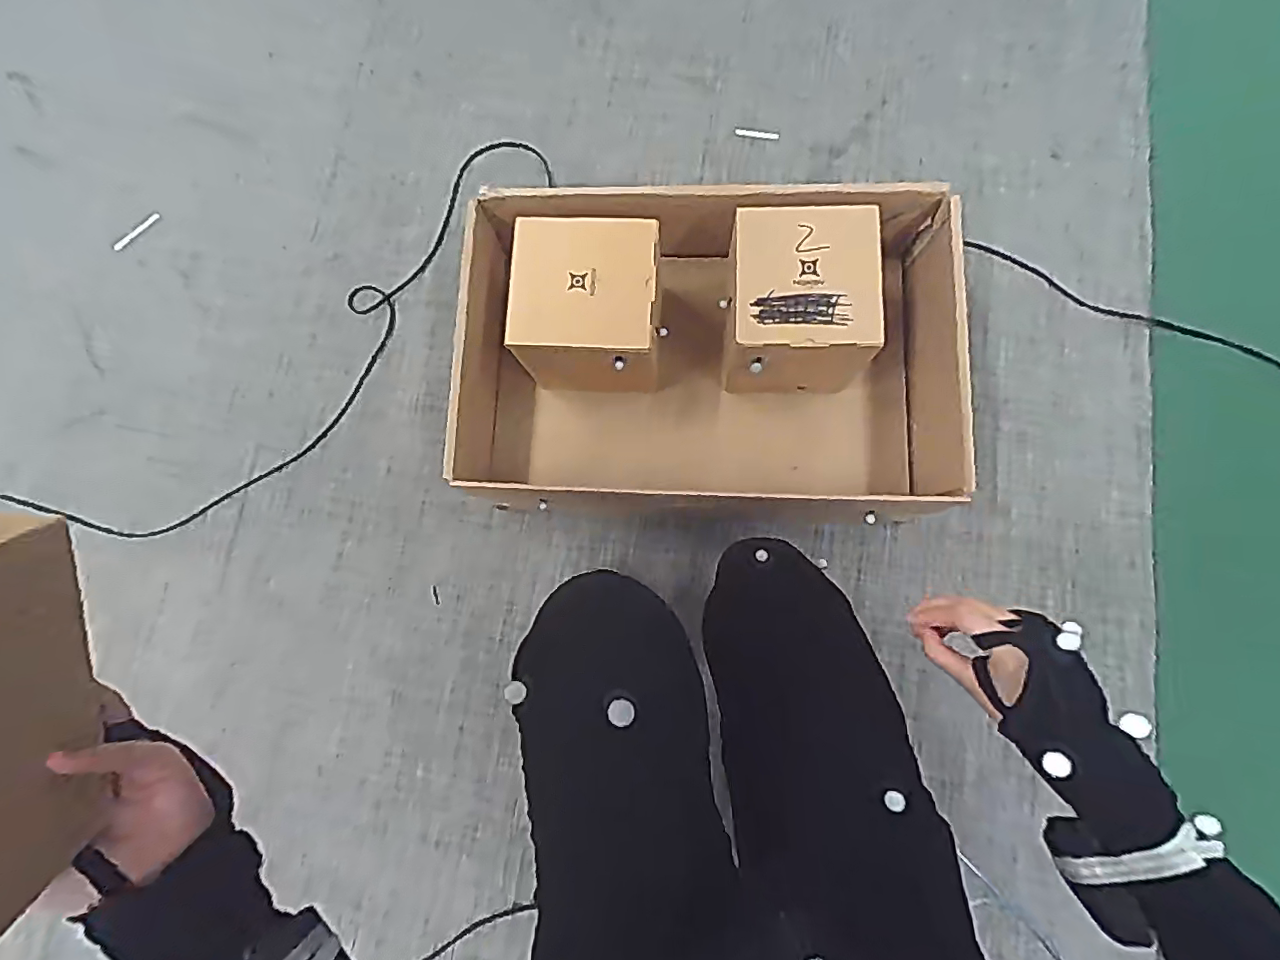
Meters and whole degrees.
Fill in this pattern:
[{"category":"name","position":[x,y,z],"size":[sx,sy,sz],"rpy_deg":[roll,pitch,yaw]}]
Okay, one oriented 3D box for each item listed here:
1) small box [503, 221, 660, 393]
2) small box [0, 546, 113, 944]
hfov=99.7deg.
[{"category":"small box","position":[-0.066,-0.219,0.720],"size":[0.179,0.176,0.168],"rpy_deg":[2,82,3]},{"category":"small box","position":[-0.349,0.122,0.191],"size":[0.168,0.176,0.179],"rpy_deg":[5,106,-9]}]
